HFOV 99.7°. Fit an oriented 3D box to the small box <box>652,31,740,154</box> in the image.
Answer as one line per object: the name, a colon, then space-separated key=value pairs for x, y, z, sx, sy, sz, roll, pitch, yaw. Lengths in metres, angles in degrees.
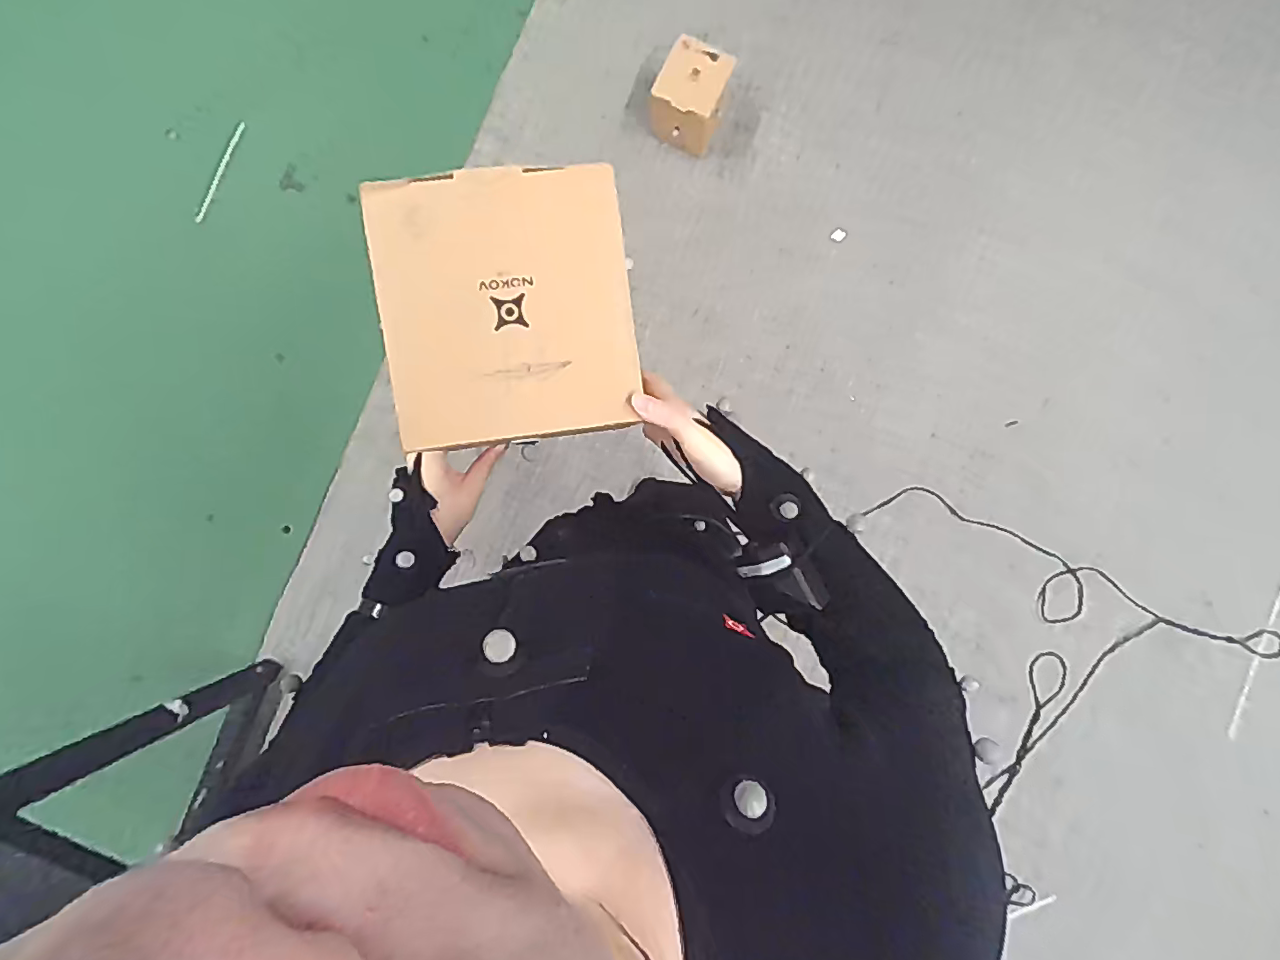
small box: x=0.145 y=-1.014 z=1.434 sx=0.168 sy=0.176 sz=0.179 roll=27 pitch=90 yaw=2
